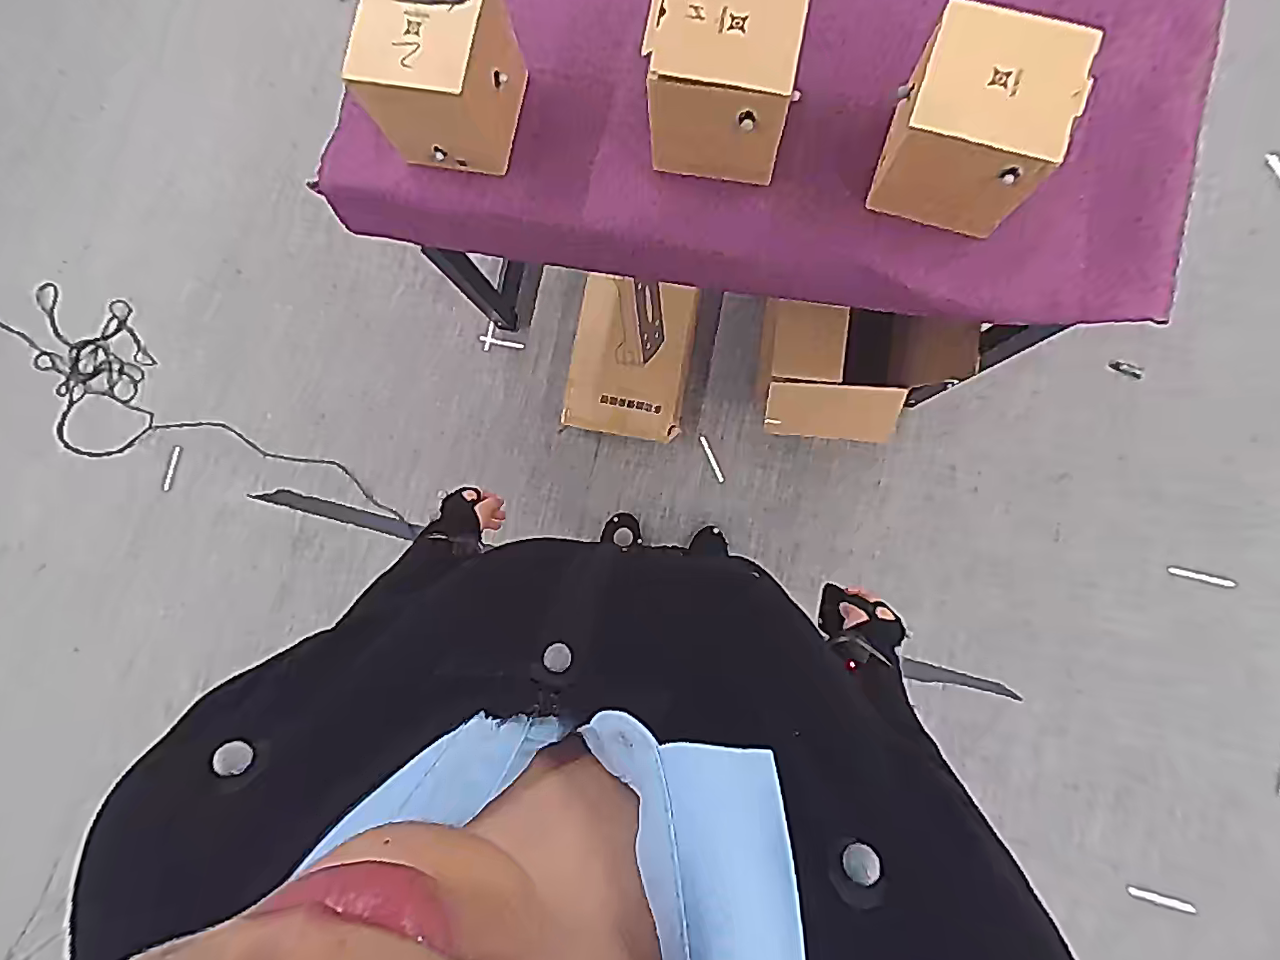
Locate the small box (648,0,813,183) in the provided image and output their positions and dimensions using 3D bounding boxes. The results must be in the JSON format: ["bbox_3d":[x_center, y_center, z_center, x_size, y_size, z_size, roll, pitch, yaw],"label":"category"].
[{"bbox_3d":[0.115,-0.531,0.723,0.179,0.176,0.168,11,84,6],"label":"small box"}]

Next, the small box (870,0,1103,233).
[{"bbox_3d":[0.421,-0.448,0.692,0.179,0.176,0.168,18,88,6],"label":"small box"}]
